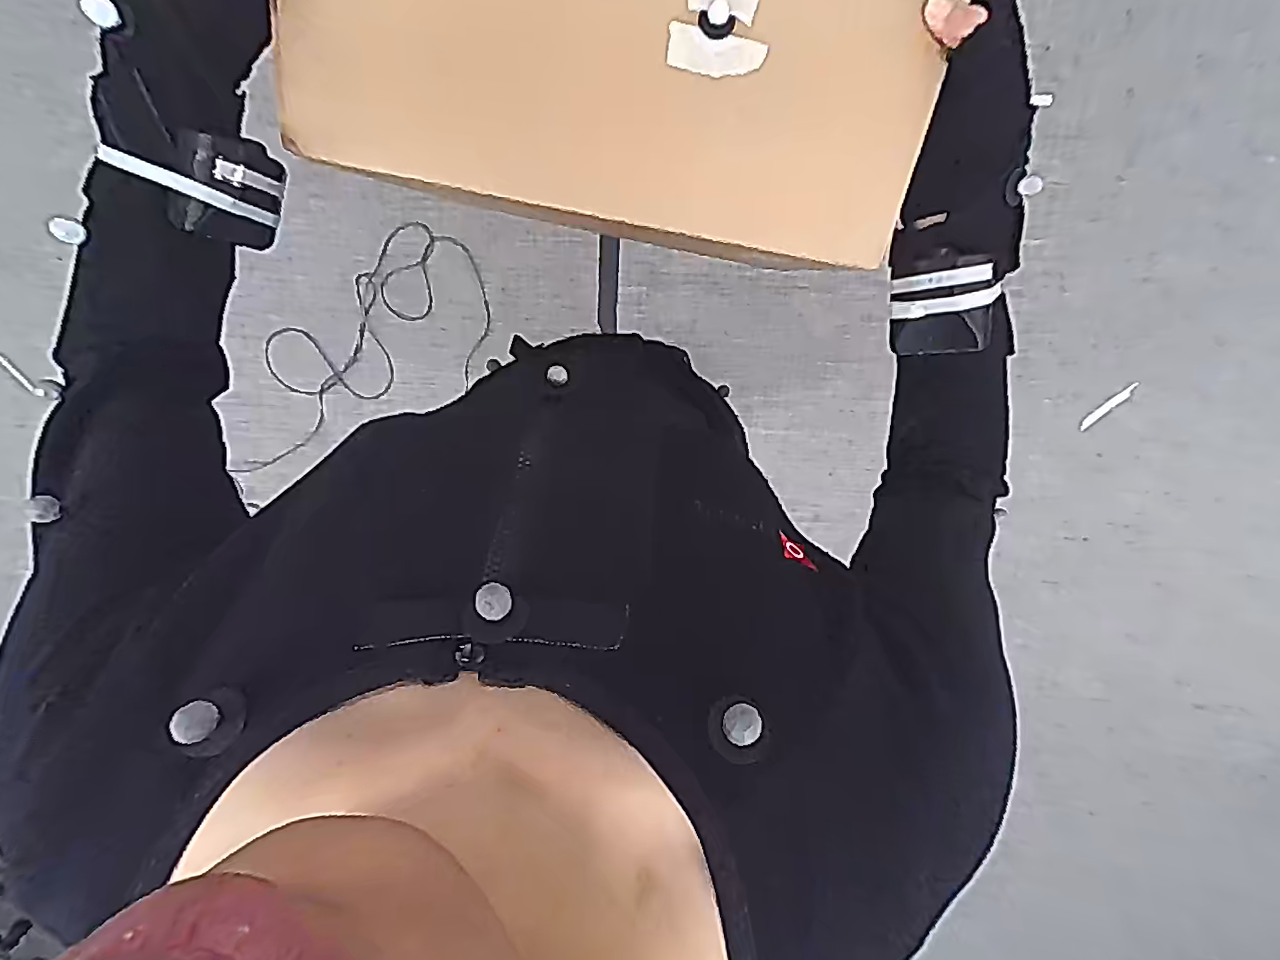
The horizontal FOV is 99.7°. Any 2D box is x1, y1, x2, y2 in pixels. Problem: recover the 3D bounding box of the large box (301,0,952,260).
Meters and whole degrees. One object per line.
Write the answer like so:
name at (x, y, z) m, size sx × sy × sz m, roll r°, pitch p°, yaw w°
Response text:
large box at (0.001, -0.385, 0.456) m, size 0.408 × 0.320 × 0.320 m, roll 11°, pitch 112°, yaw -1°
